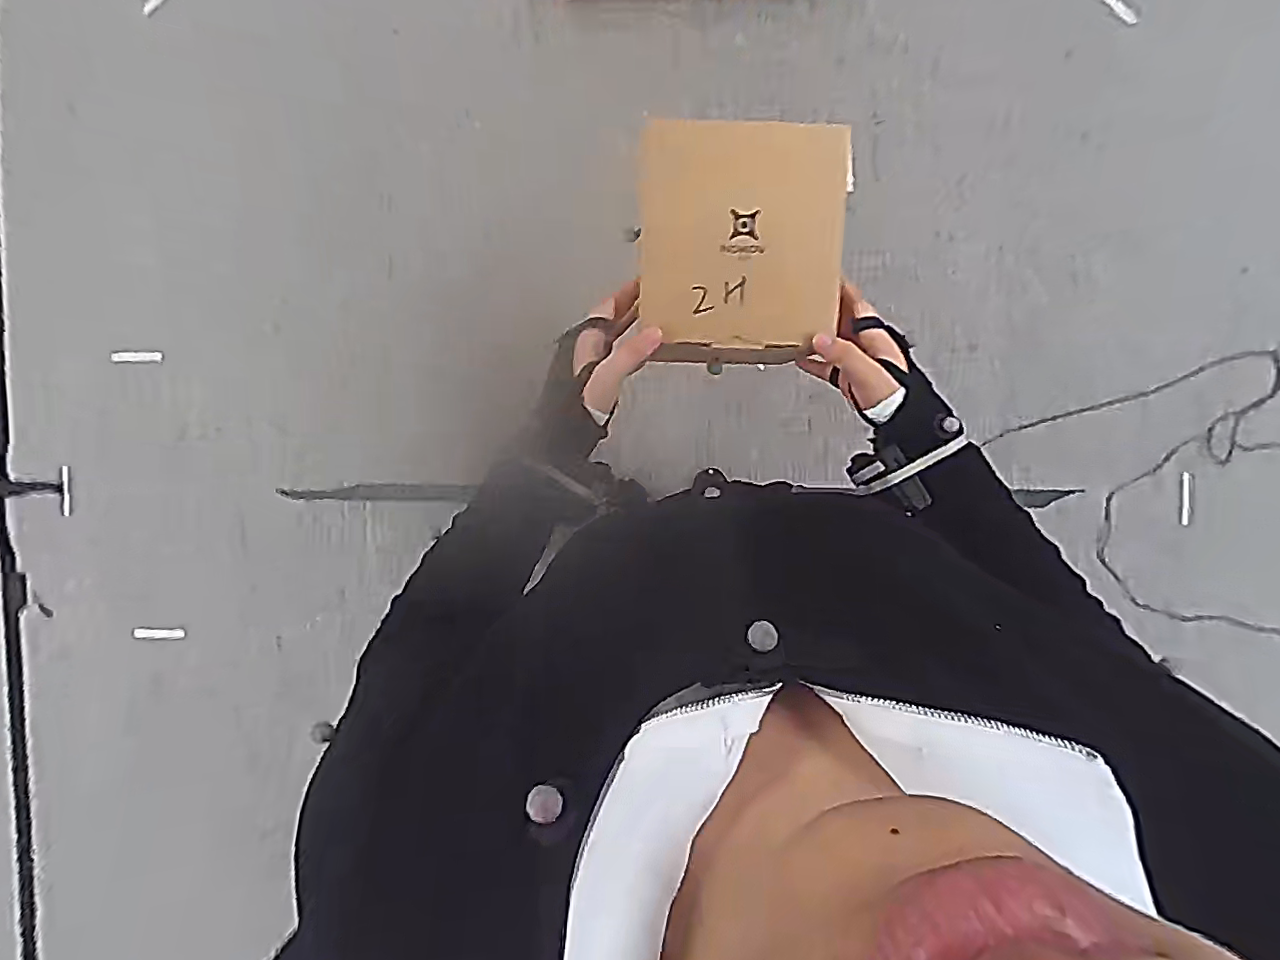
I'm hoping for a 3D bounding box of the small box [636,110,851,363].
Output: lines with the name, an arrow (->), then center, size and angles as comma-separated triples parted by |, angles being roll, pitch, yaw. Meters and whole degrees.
small box -> 0.082, -0.211, 0.514 | 0.168, 0.176, 0.179 | 2, 97, -1
